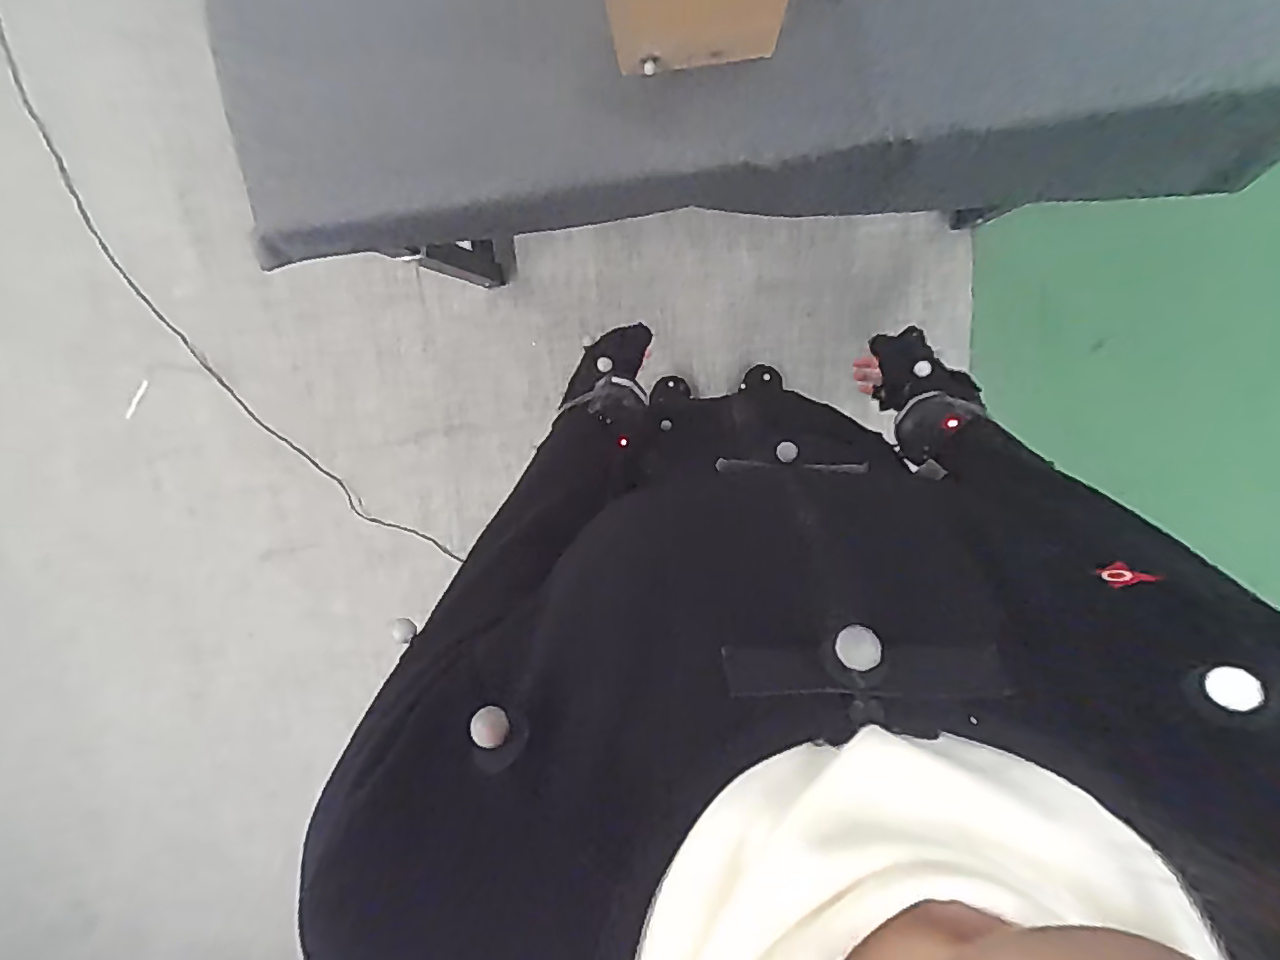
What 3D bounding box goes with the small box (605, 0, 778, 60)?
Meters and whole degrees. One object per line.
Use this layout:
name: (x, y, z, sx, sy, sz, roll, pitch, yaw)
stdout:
small box: (0.047, -0.524, 0.496, 0.168, 0.176, 0.179, -3, 102, 5)
